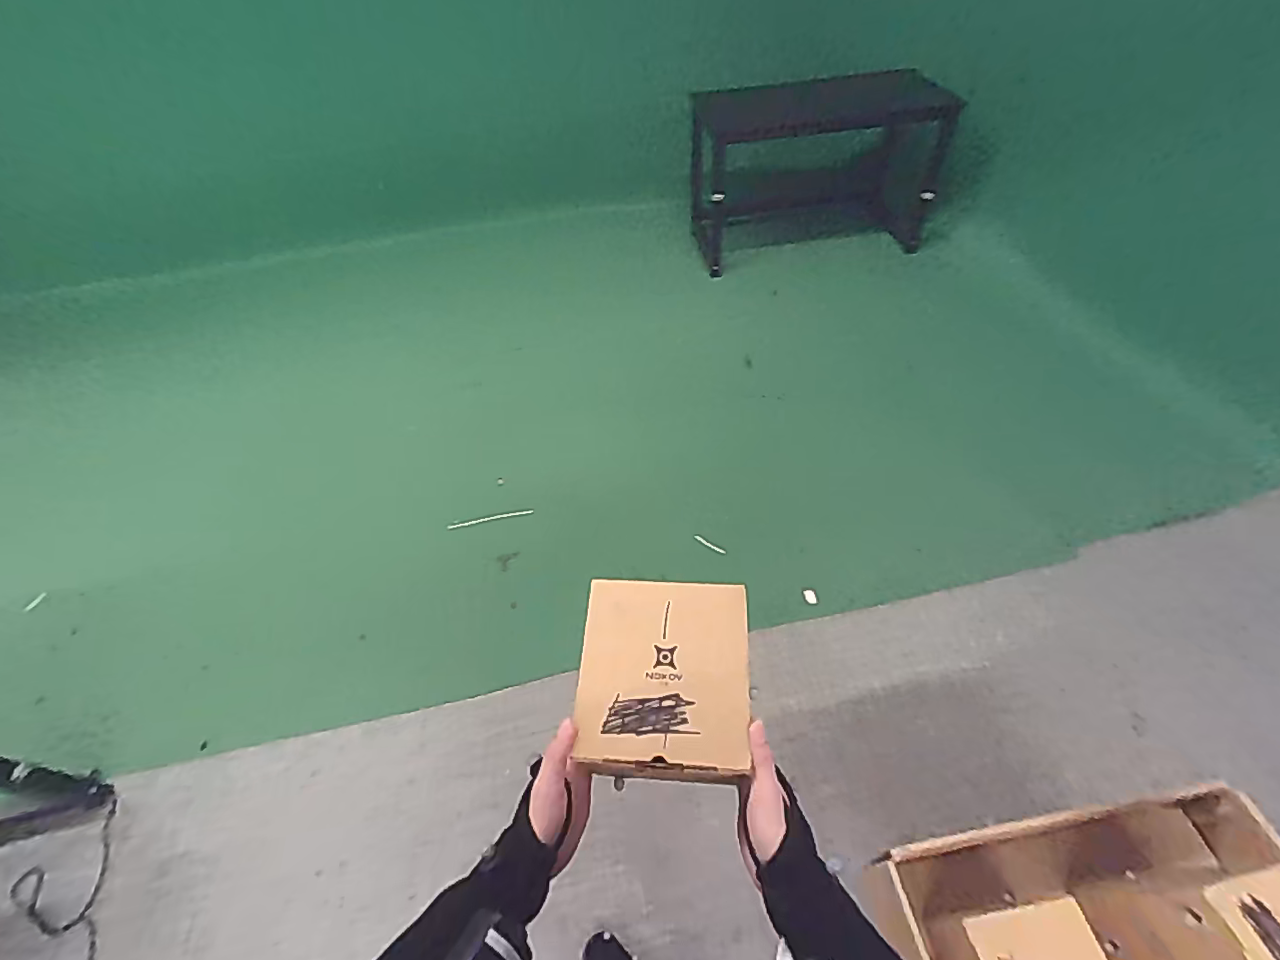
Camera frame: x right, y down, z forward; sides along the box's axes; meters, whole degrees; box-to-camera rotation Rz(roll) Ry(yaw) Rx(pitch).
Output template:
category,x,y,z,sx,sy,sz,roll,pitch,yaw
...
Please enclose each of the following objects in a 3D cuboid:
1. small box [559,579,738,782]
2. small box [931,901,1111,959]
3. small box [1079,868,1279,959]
category,x,y,z,sx,sy,sz,roll,pitch,yaw
small box,0.019,0.224,0.592,0.168,0.176,0.179,1,56,5
small box,0.569,0.733,0.790,0.179,0.176,0.168,-8,49,-3
small box,0.821,0.697,0.805,0.179,0.176,0.168,-11,50,-2
